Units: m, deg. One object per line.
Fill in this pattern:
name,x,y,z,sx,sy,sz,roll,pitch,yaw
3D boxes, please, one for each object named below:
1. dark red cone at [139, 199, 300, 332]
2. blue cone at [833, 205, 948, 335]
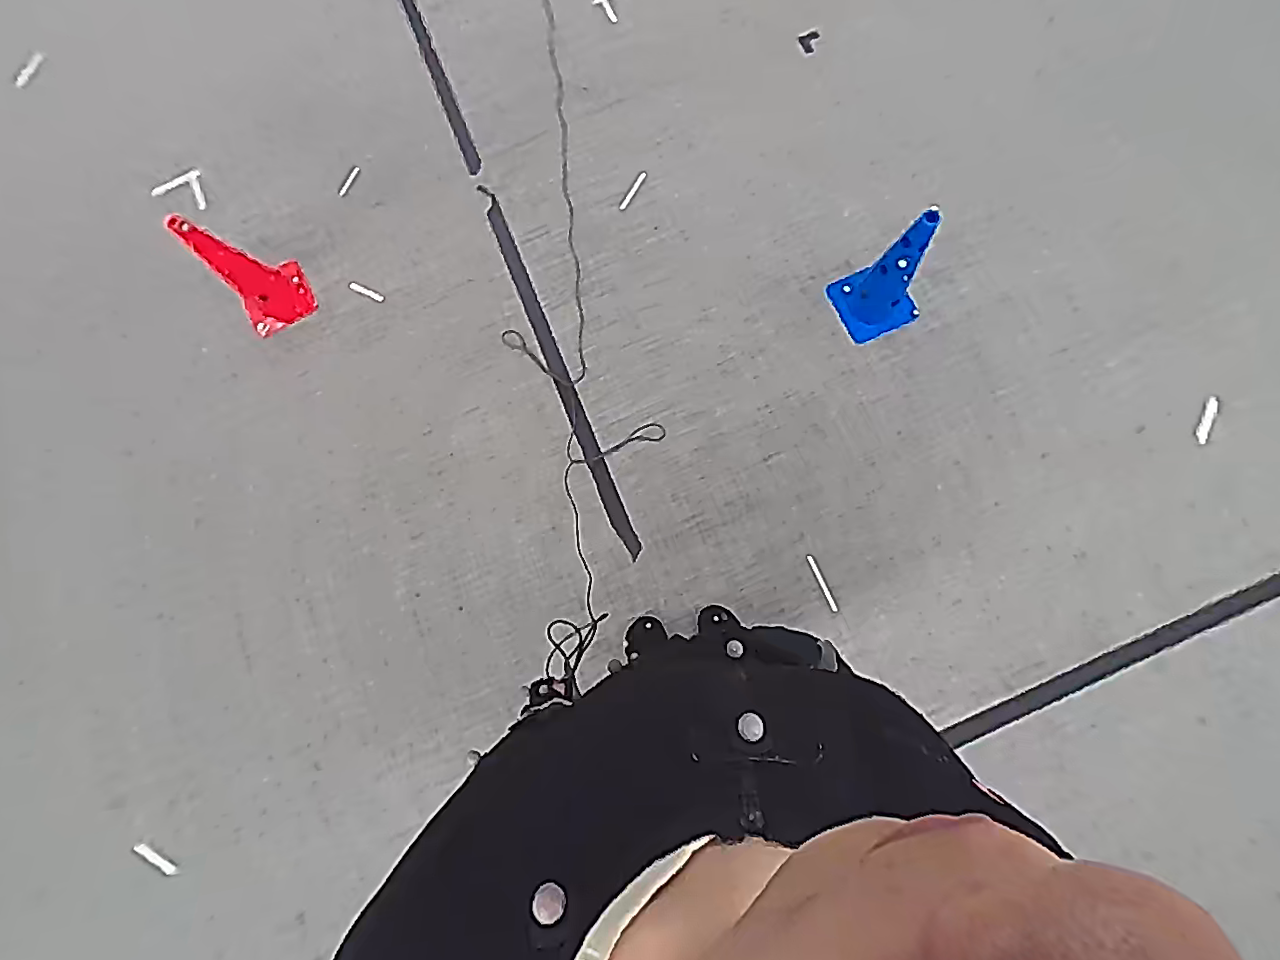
dark red cone,-1.119,-0.583,1.424,0.201,0.394,0.202,-31,79,-4
blue cone,0.639,-0.534,1.335,0.192,0.380,0.193,-23,78,-2
